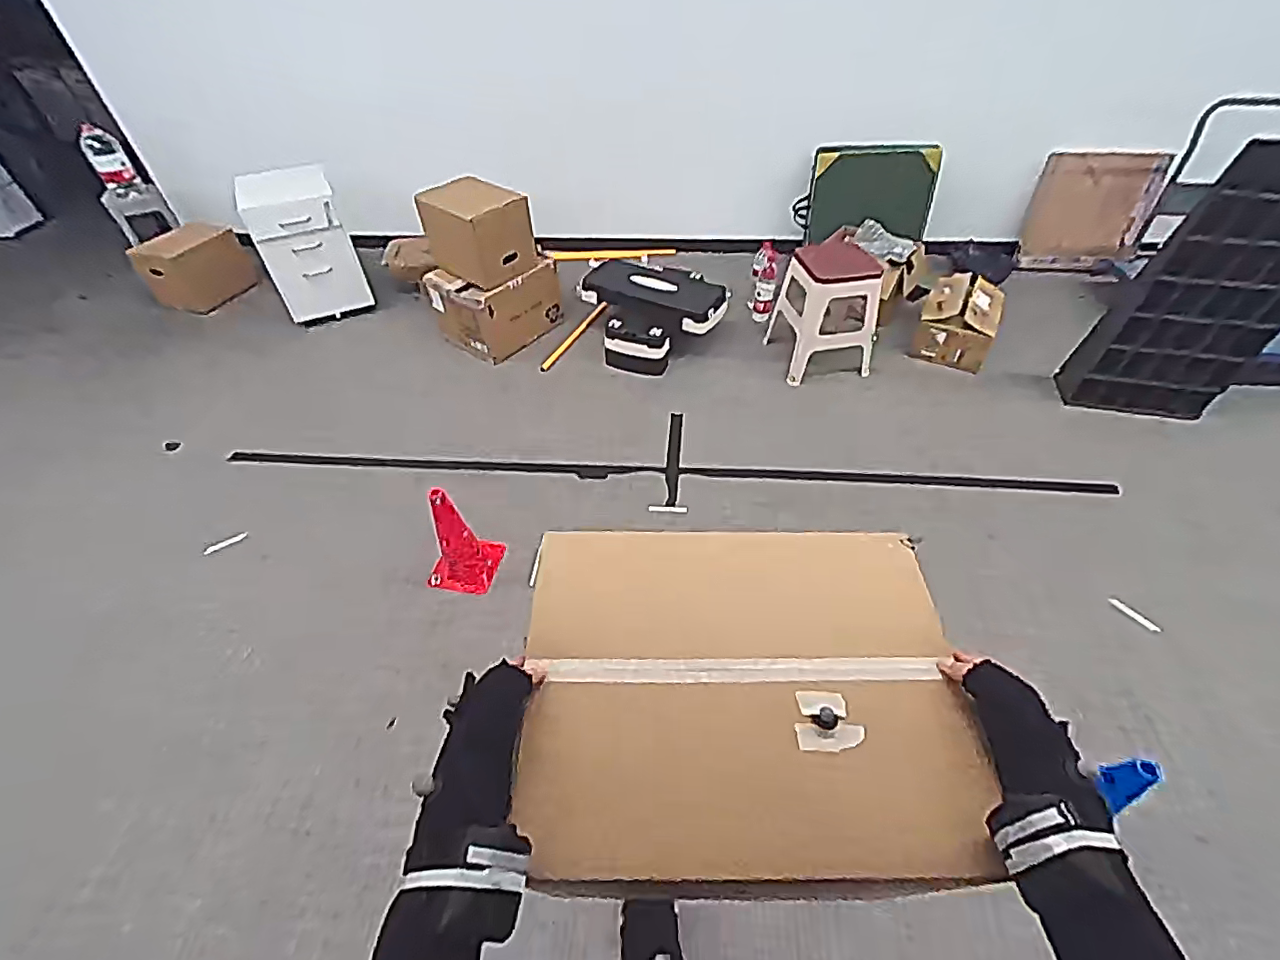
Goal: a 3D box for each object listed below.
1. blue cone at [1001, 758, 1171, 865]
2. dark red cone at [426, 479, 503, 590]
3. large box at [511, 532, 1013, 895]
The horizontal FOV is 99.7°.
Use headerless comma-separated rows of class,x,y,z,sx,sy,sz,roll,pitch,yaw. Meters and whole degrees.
blue cone,0.953,0.660,1.135,0.192,0.380,0.193,6,47,6
dark red cone,-0.561,0.147,1.619,0.201,0.394,0.202,8,47,7
large box,0.091,0.273,0.626,0.408,0.320,0.320,0,50,-1
